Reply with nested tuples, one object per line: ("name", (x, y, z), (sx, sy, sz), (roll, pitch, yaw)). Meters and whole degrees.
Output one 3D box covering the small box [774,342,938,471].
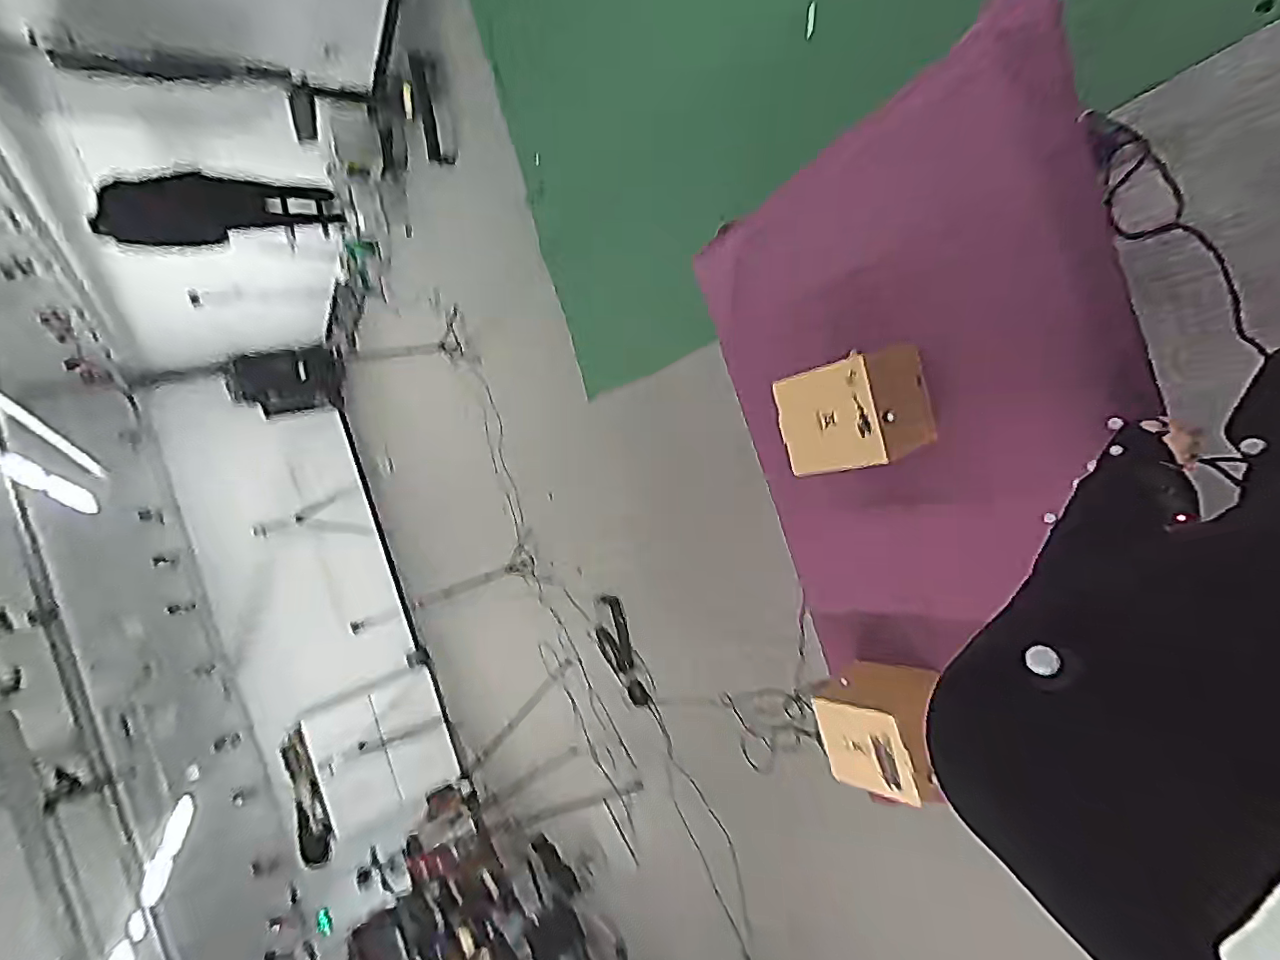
("small box", (0.360, -0.121, 0.906), (0.179, 0.176, 0.168), (-10, 97, 55))
